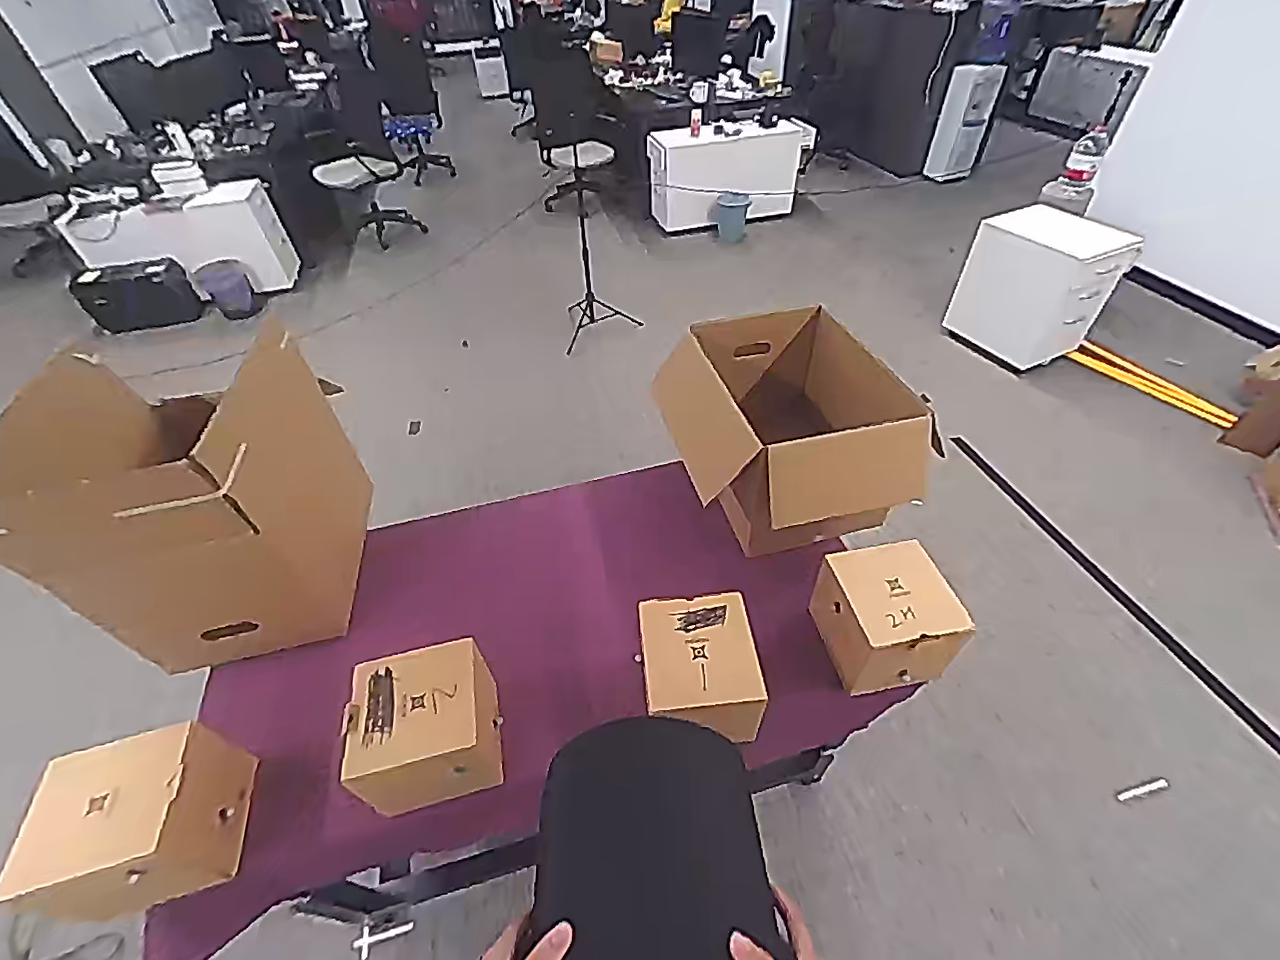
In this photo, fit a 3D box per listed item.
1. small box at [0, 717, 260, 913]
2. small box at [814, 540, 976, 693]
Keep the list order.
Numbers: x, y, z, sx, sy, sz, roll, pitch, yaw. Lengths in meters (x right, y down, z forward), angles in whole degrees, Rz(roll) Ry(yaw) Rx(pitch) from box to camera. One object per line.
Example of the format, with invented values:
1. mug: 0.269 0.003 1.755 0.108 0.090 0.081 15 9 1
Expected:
1. small box: -0.674 0.463 0.746 0.179 0.176 0.168 -13 46 -11
2. small box: 0.409 0.229 0.906 0.168 0.176 0.179 -9 45 -4
